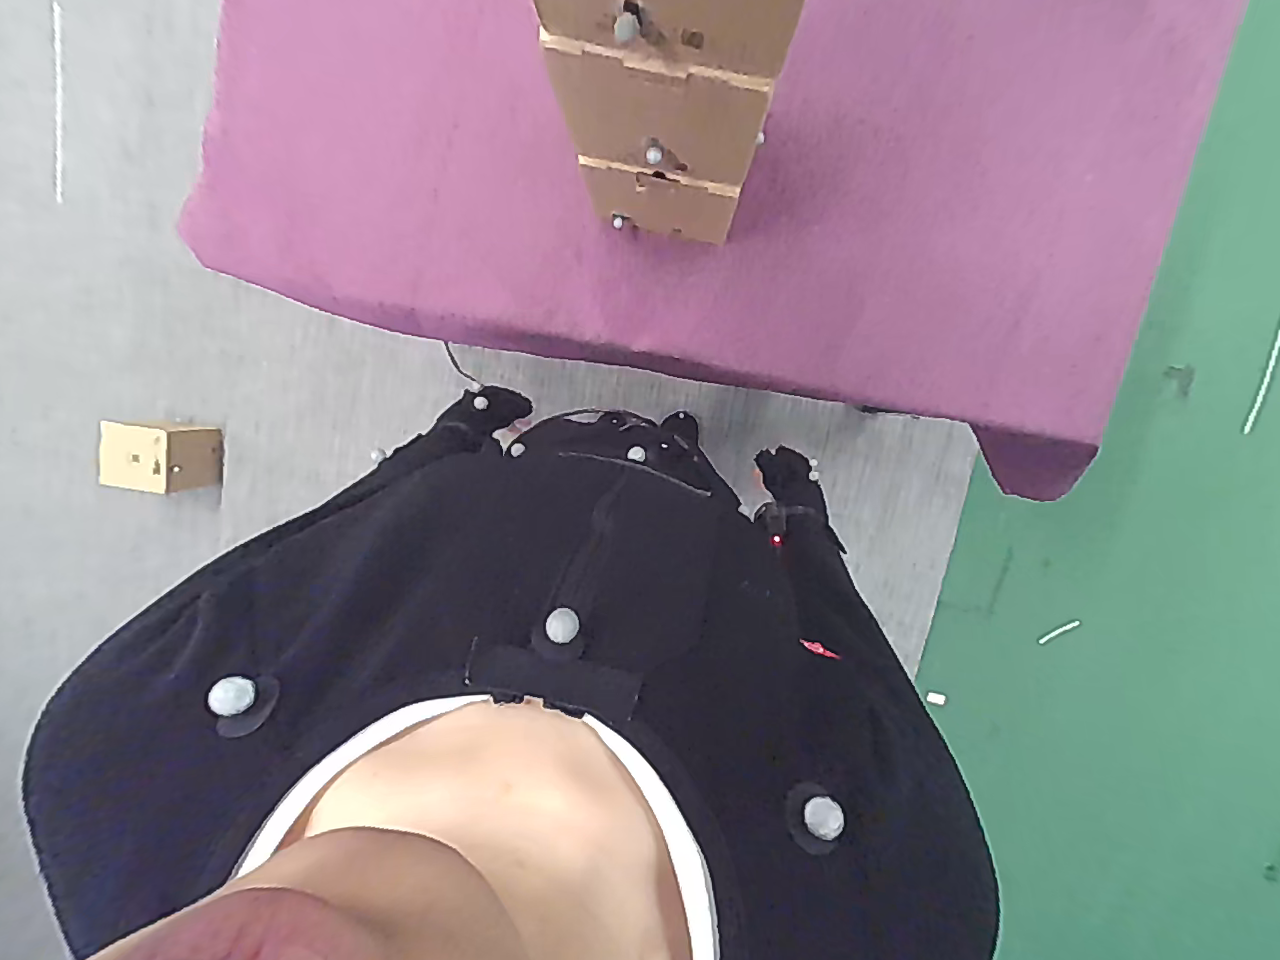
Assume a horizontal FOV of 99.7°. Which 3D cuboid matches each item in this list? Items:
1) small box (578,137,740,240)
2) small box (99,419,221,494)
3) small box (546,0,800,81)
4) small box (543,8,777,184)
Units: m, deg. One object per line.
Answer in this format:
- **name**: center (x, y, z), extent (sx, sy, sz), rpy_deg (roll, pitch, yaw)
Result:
- **small box**: center (0.039, -0.392, 0.605), extent (0.168, 0.176, 0.179), rpy_deg (13, 97, 1)
- **small box**: center (-1.274, -0.068, 1.443), extent (0.179, 0.176, 0.168), rpy_deg (10, 98, 2)
- **small box**: center (0.026, -0.361, 0.280), extent (0.168, 0.176, 0.179), rpy_deg (12, 98, 1)
- **small box**: center (0.032, -0.379, 0.442), extent (0.168, 0.176, 0.179), rpy_deg (13, 98, 1)
